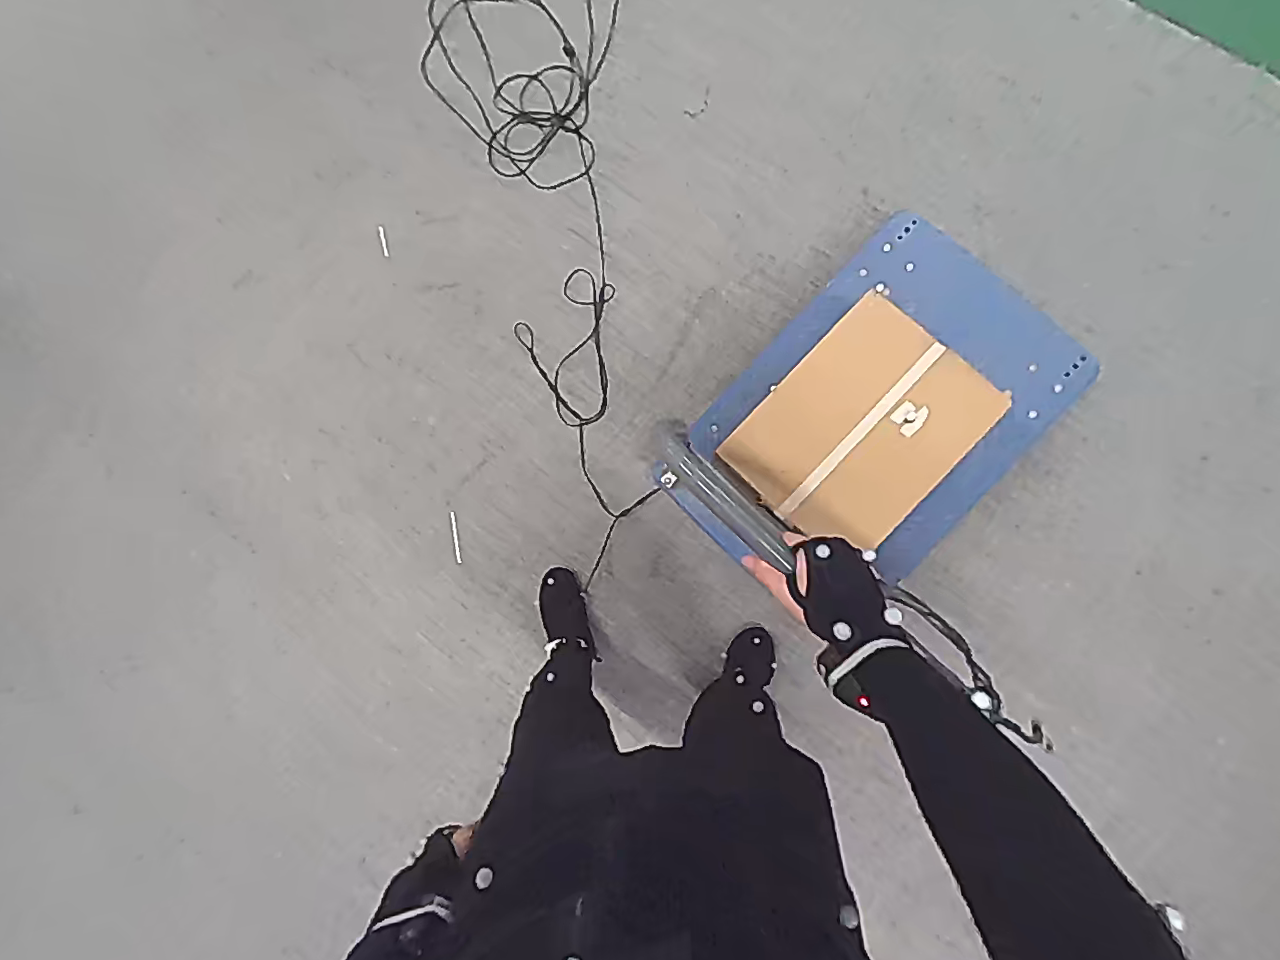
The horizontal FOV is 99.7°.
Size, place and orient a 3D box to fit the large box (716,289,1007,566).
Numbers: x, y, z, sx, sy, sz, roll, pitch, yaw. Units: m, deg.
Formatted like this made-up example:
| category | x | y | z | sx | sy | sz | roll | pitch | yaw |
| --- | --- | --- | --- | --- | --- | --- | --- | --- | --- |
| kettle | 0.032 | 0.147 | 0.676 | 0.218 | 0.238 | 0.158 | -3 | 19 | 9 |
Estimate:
| category | x | y | z | sx | sy | sz | roll | pitch | yaw |
| --- | --- | --- | --- | --- | --- | --- | --- | --- | --- |
| large box | 0.399 | -0.081 | 1.087 | 0.320 | 0.320 | 0.408 | 44 | 90 | 7 |
